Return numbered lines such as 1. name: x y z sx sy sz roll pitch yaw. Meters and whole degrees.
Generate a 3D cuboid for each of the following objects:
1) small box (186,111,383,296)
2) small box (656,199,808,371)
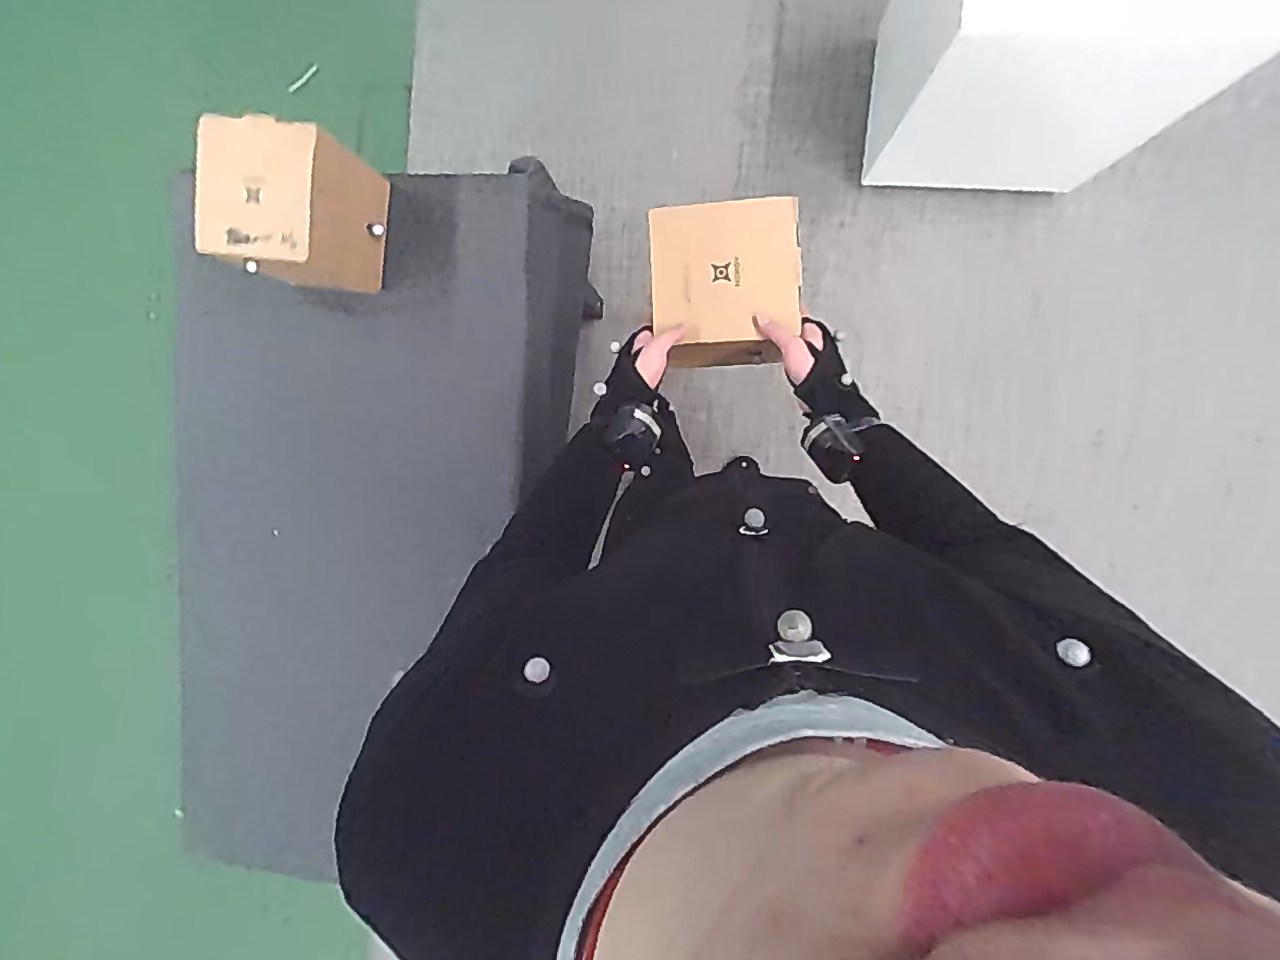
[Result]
1. small box: -0.492 -0.380 0.770 0.168 0.176 0.179 8 96 4
2. small box: 0.114 -0.242 0.709 0.179 0.176 0.168 -2 91 6
